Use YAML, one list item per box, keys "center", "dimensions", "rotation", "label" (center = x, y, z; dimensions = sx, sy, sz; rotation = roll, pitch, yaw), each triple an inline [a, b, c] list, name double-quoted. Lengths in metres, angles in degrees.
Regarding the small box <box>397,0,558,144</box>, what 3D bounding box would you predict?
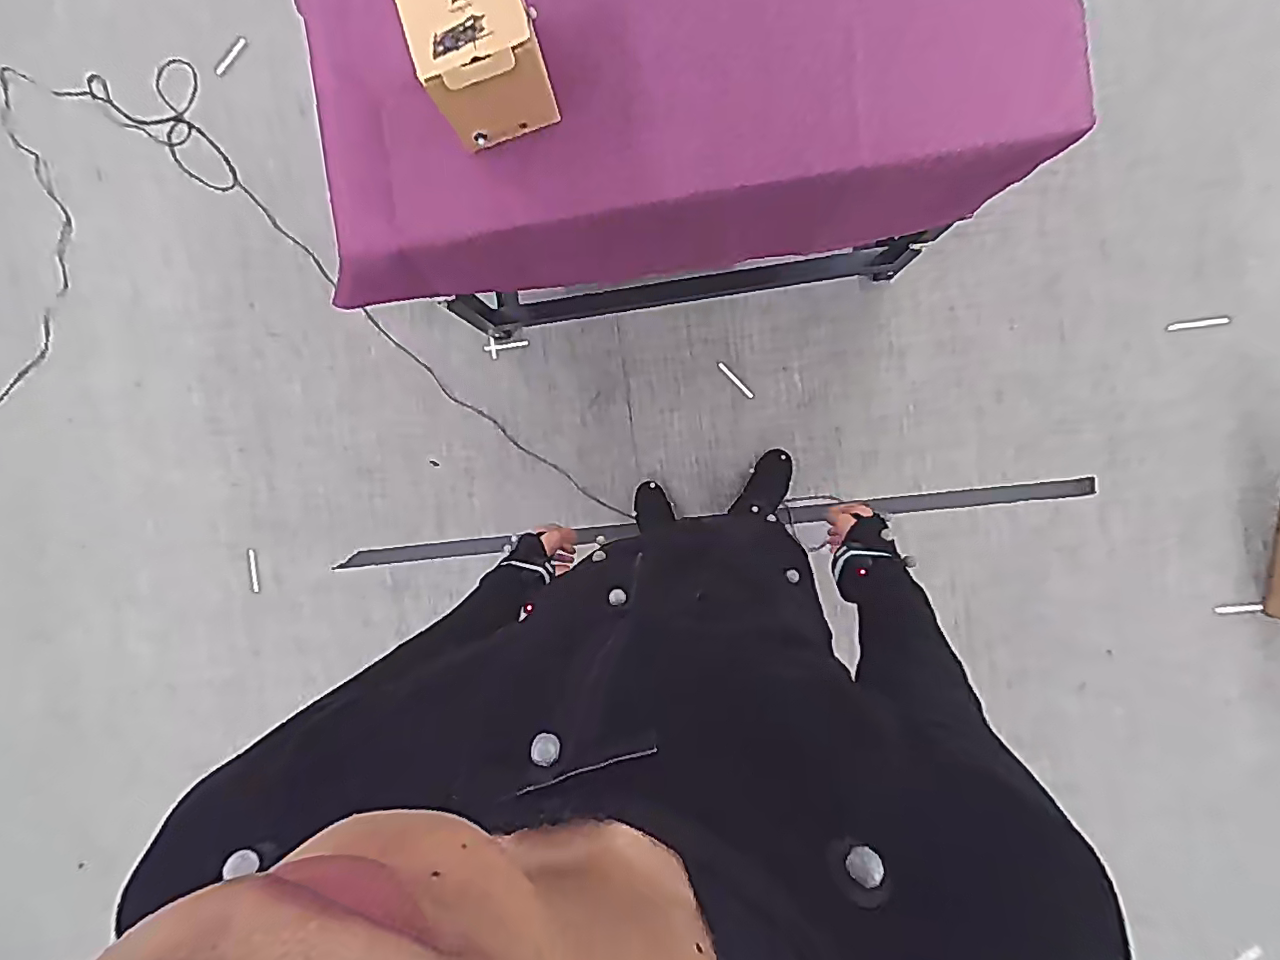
- center: [-0.234, -0.638, 0.802]
  dimensions: [0.168, 0.176, 0.179]
  rotation: [-17, 90, 5]
  label: "small box"
